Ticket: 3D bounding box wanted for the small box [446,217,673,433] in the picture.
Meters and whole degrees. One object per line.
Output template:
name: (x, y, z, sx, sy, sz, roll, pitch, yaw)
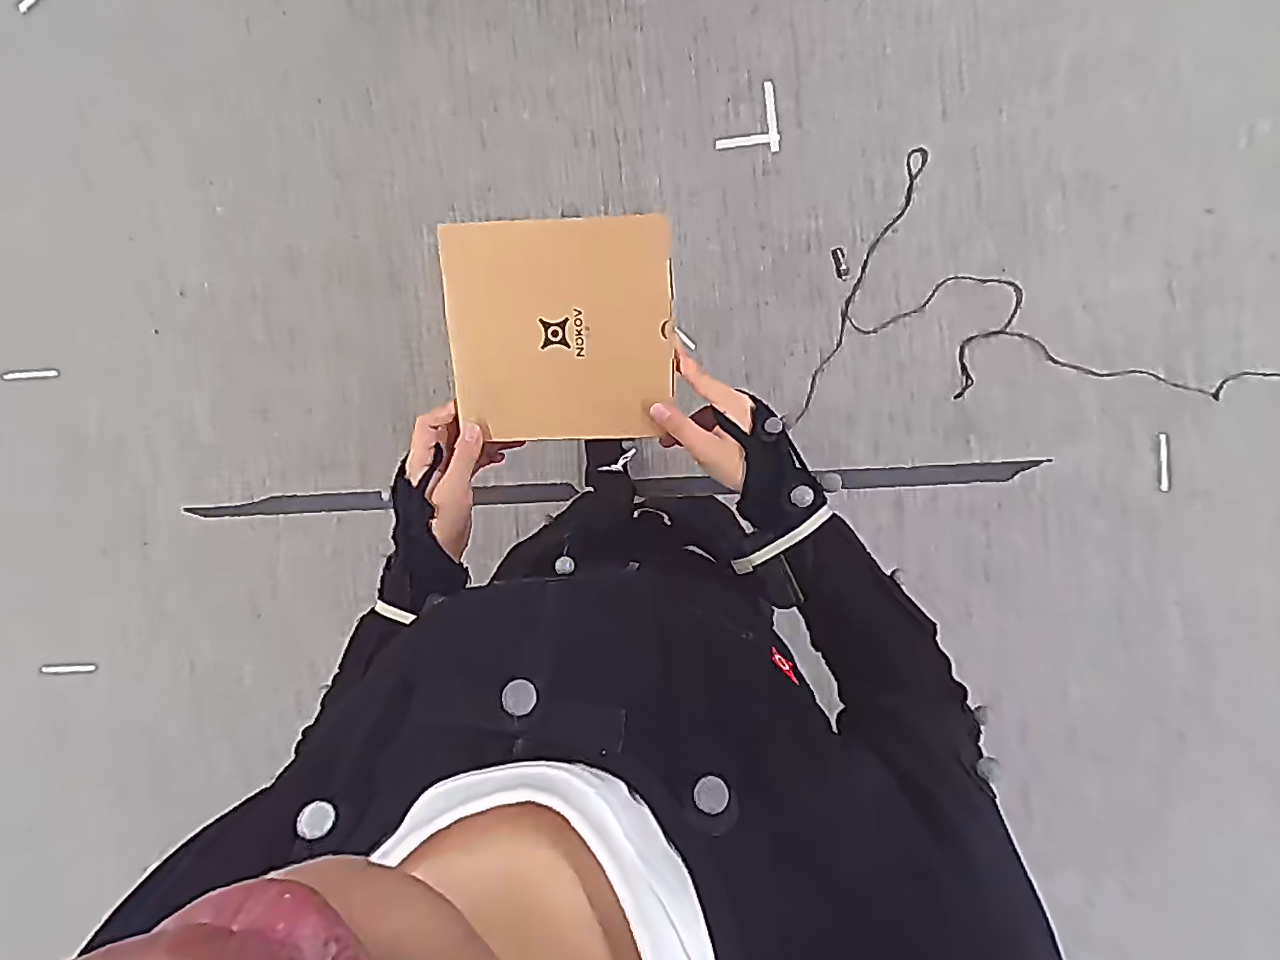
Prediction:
small box: (-0.059, -0.136, 0.506, 0.179, 0.176, 0.168, -2, 103, 1)
